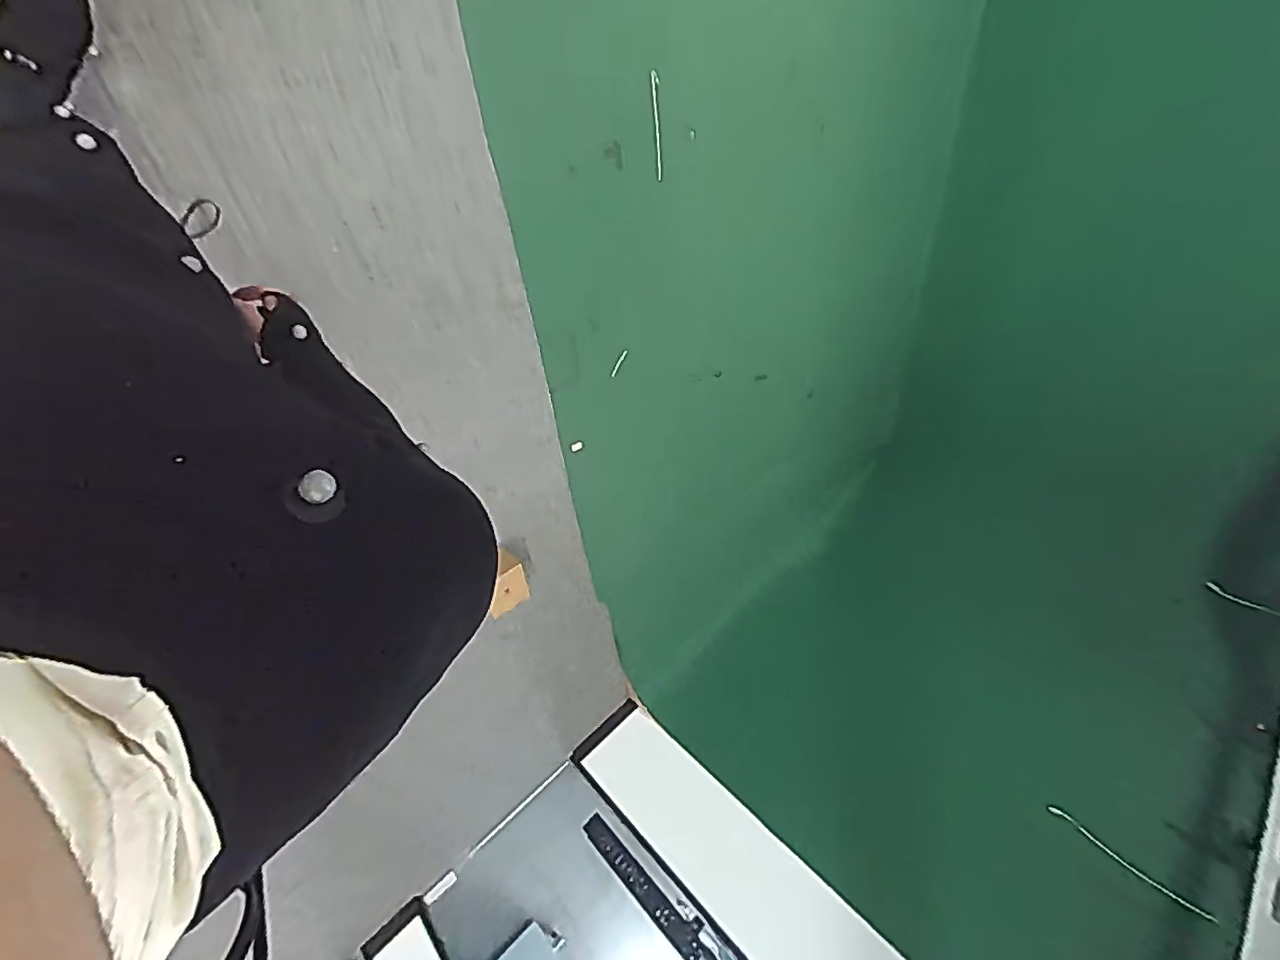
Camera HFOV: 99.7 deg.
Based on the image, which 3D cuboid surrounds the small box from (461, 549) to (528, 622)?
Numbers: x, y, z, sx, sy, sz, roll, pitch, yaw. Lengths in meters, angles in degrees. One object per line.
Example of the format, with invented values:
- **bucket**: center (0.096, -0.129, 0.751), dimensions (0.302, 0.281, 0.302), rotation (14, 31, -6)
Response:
- **small box**: center (-0.553, 0.397, 2.052), dimensions (0.168, 0.176, 0.179), rotation (-31, 132, -32)
